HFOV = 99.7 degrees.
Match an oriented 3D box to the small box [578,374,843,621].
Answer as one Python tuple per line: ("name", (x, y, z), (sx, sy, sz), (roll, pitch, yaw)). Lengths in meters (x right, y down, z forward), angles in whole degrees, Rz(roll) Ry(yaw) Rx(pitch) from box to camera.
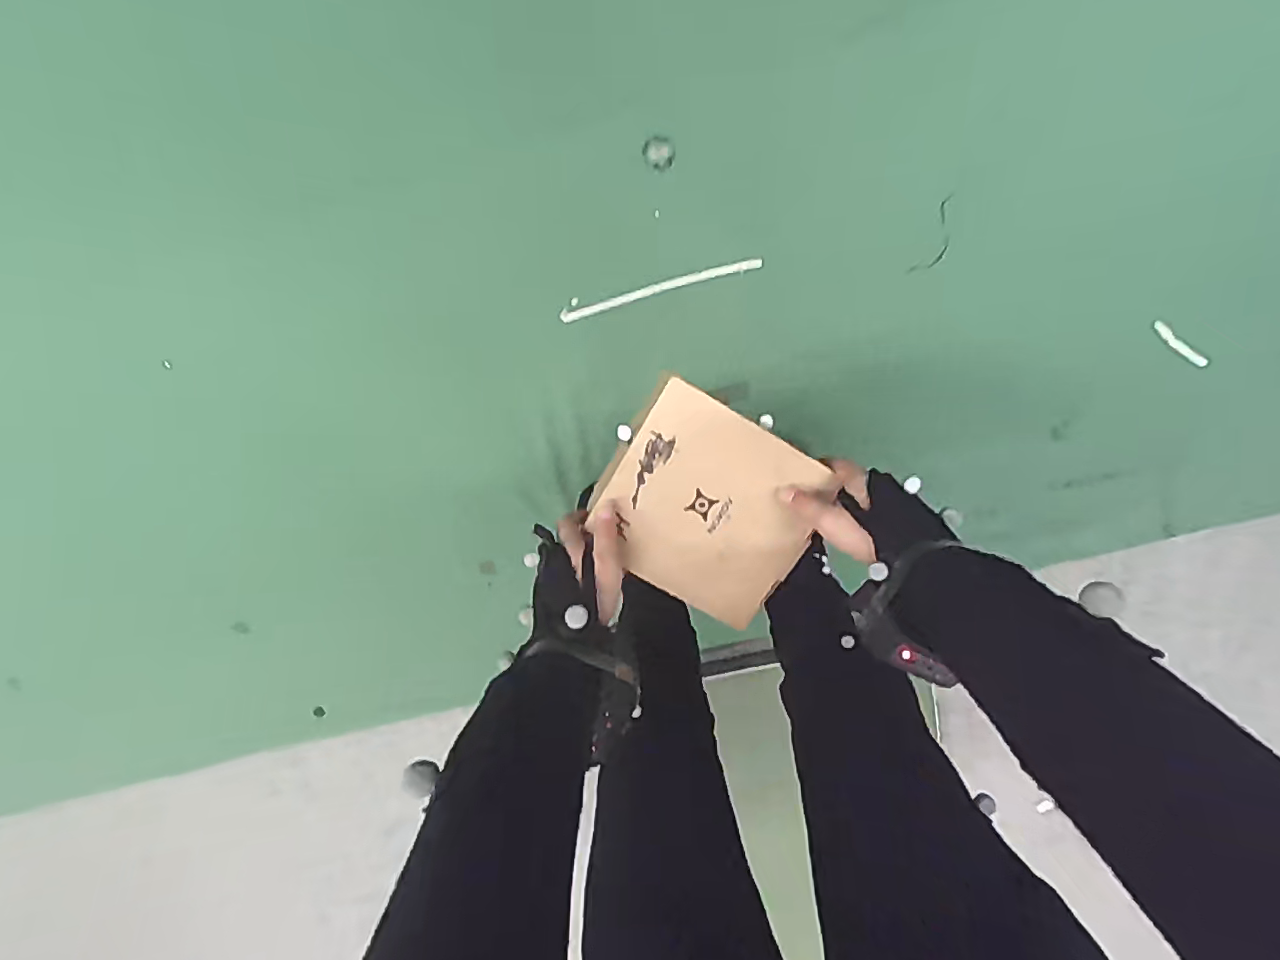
("small box", (0.060, 0.002, 0.544), (0.179, 0.176, 0.168), (30, 101, -6))
